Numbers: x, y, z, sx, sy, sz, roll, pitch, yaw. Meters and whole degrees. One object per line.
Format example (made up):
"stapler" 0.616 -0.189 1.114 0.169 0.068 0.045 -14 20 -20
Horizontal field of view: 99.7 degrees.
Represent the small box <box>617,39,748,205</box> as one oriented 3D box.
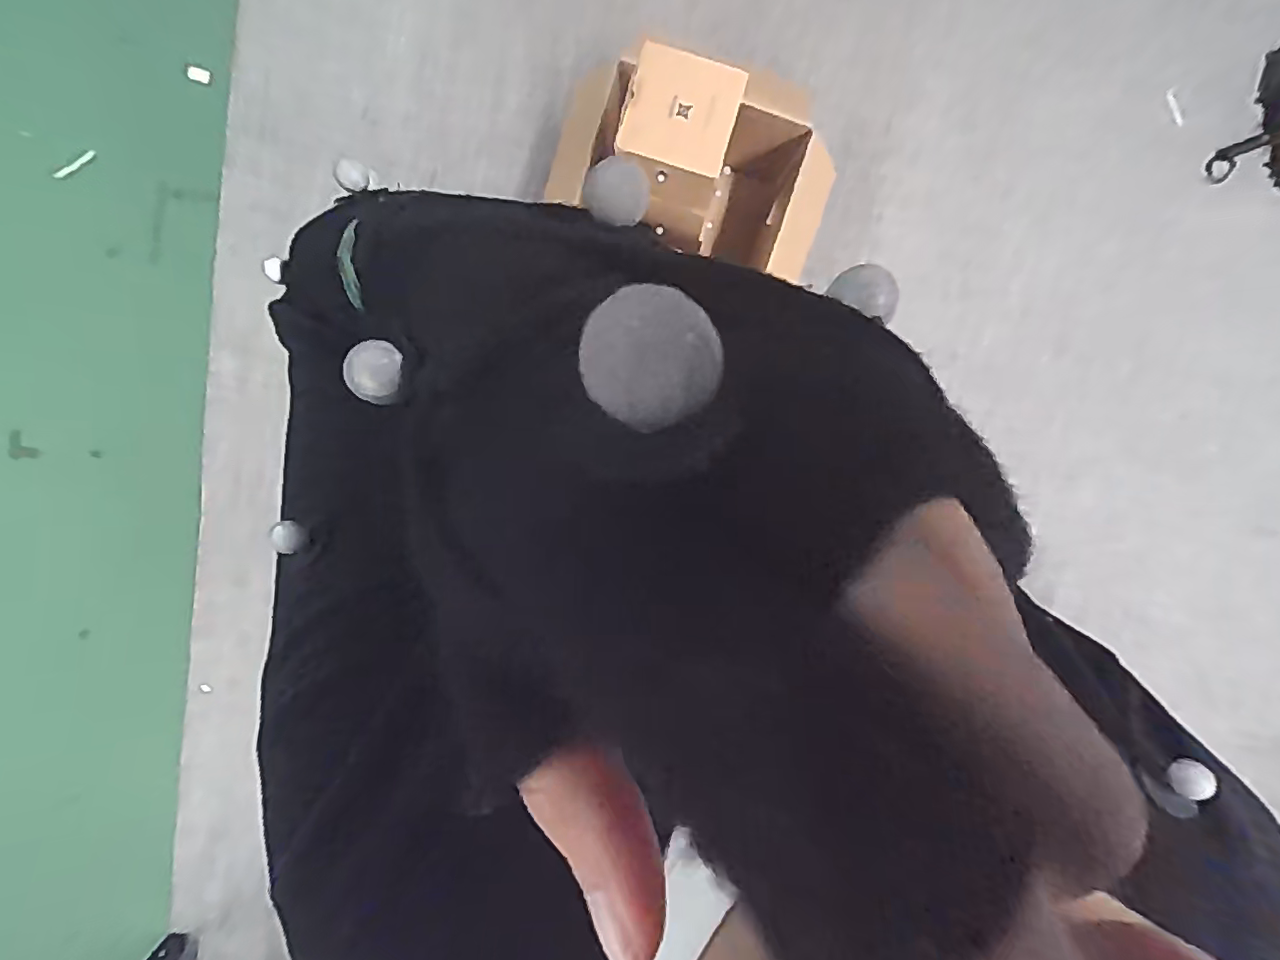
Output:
"small box" 0.067 -0.606 0.941 0.179 0.176 0.168 16 99 -2
